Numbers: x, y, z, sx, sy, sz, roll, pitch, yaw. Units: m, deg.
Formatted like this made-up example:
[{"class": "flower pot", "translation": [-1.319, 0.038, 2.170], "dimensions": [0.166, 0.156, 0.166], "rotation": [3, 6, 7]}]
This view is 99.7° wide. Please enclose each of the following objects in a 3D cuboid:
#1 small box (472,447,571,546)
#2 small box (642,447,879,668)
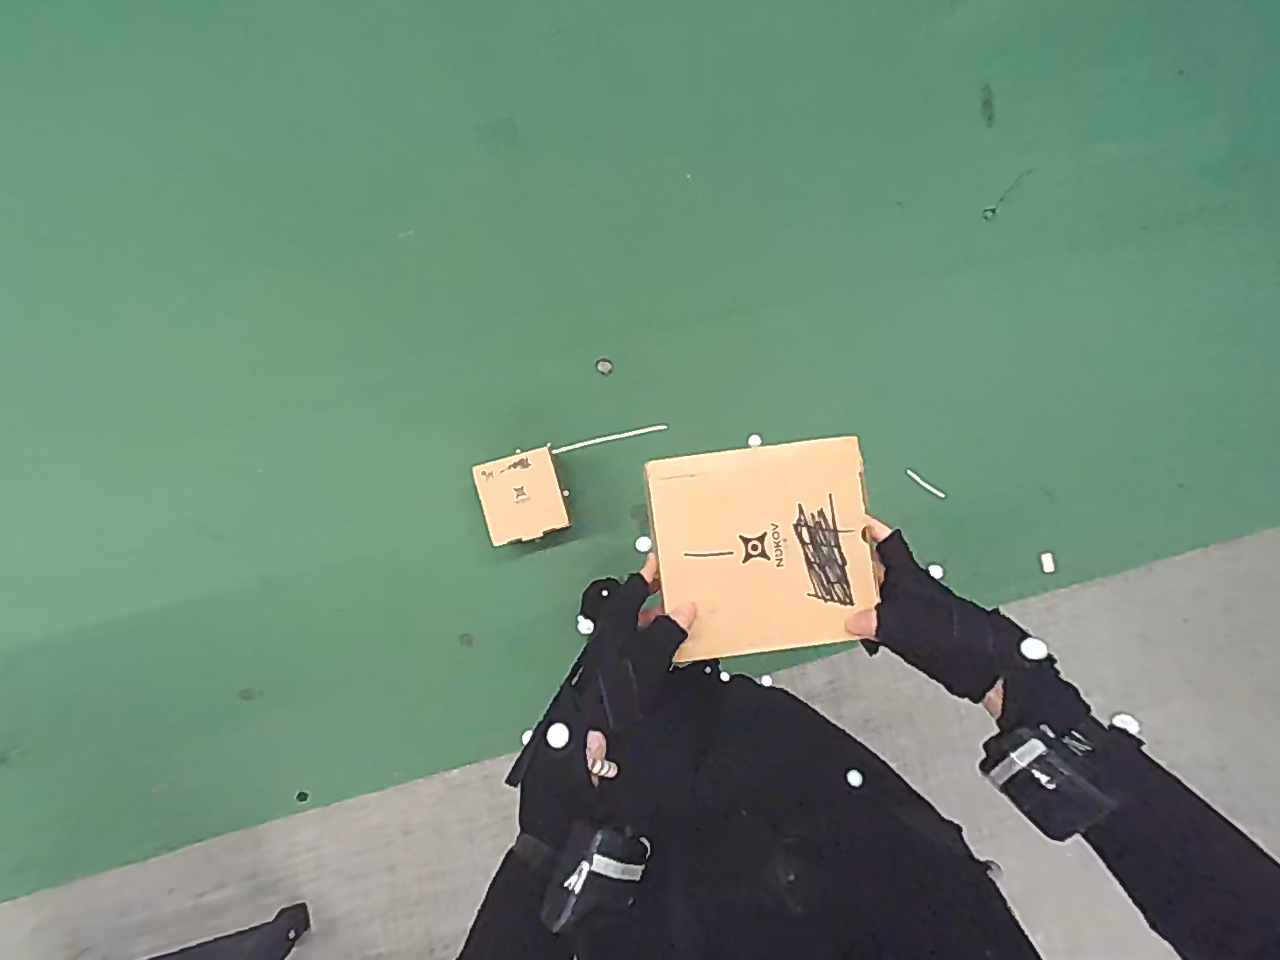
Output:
[{"class": "small box", "translation": [-0.254, 0.034, 1.199], "dimensions": [0.168, 0.176, 0.179], "rotation": [-16, 89, -5]}, {"class": "small box", "translation": [0.097, 0.063, 0.511], "dimensions": [0.179, 0.176, 0.168], "rotation": [-7, 88, 0]}]
